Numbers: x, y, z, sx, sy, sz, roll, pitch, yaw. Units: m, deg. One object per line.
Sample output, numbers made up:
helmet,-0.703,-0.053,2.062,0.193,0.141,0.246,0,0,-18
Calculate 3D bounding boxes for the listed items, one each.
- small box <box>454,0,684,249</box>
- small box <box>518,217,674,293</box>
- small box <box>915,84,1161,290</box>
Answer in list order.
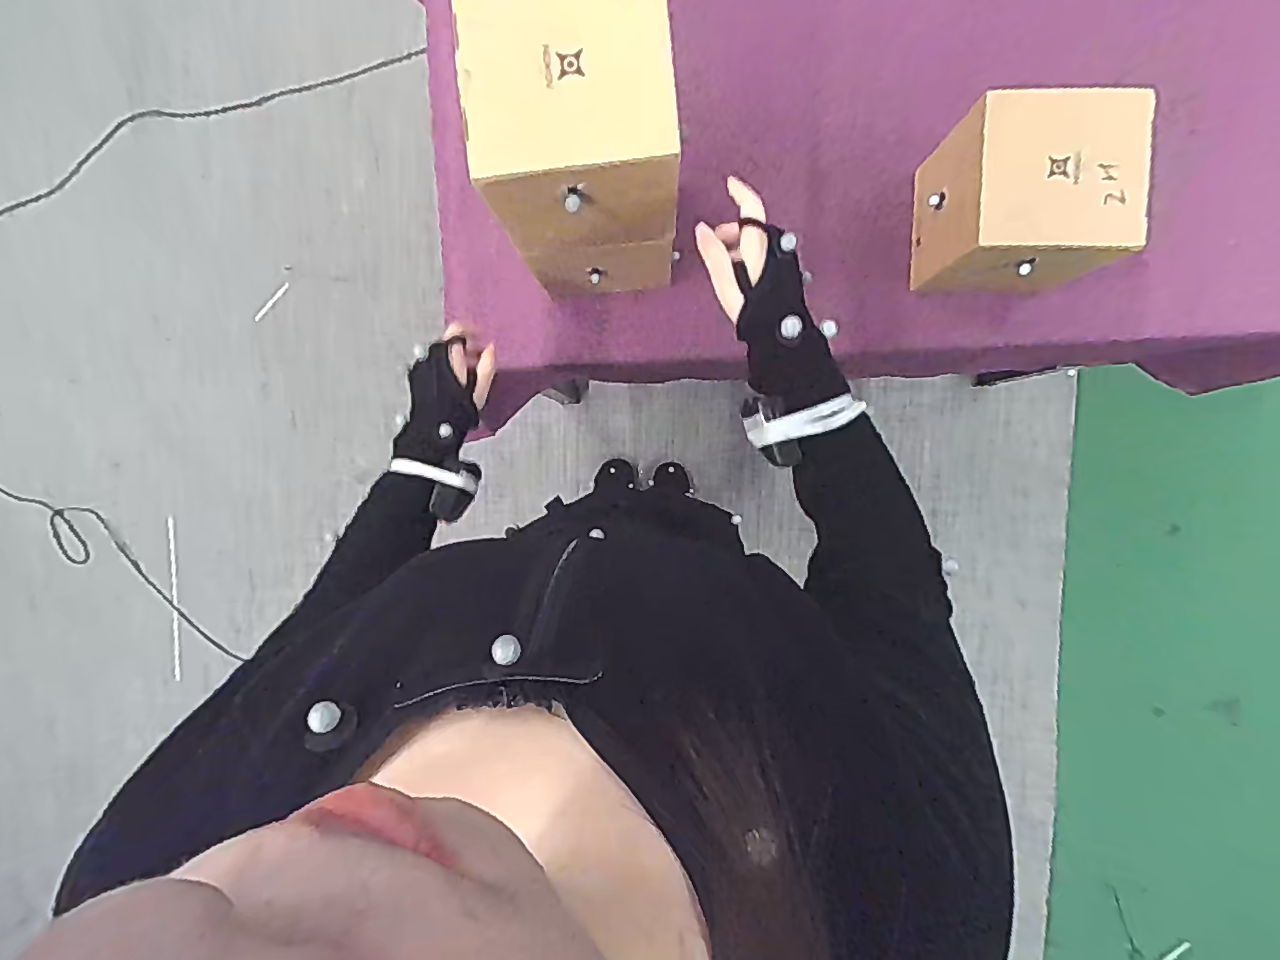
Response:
small box,-0.054,-0.337,0.512,0.179,0.176,0.168,-5,93,4
small box,-0.050,-0.344,0.674,0.179,0.176,0.168,-4,92,4
small box,0.455,-0.335,0.649,0.179,0.176,0.168,2,94,3
